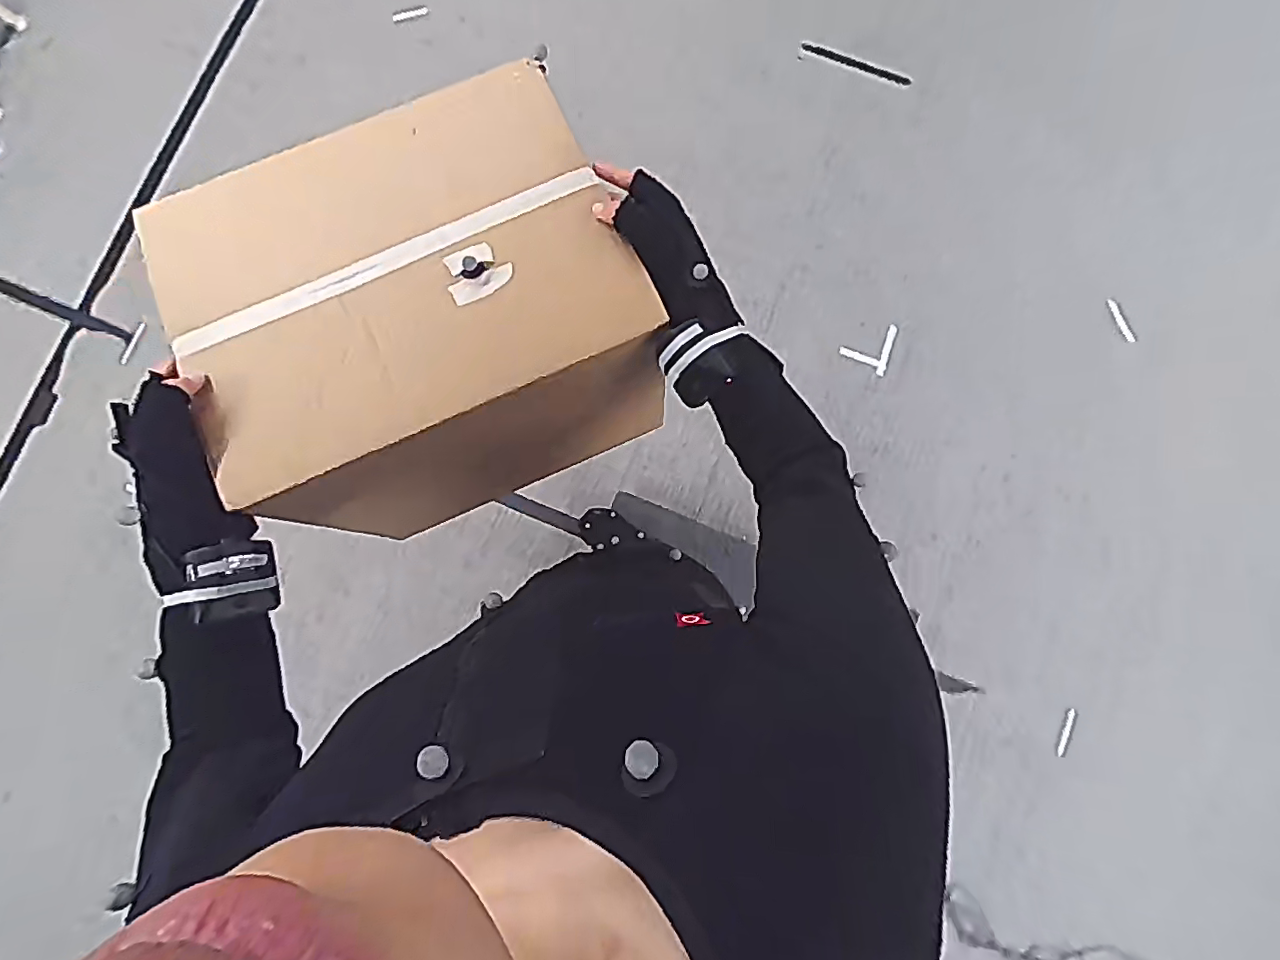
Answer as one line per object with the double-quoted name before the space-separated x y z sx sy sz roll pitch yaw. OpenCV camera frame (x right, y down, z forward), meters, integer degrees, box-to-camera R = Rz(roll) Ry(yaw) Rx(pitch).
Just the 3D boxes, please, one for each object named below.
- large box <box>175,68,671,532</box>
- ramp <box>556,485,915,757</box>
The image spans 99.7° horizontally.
"large box" -0.207 -0.170 0.648 0.408 0.320 0.320 -24 79 -3
"ramp" 0.309 0.417 1.564 0.991 0.206 0.509 19 83 1
